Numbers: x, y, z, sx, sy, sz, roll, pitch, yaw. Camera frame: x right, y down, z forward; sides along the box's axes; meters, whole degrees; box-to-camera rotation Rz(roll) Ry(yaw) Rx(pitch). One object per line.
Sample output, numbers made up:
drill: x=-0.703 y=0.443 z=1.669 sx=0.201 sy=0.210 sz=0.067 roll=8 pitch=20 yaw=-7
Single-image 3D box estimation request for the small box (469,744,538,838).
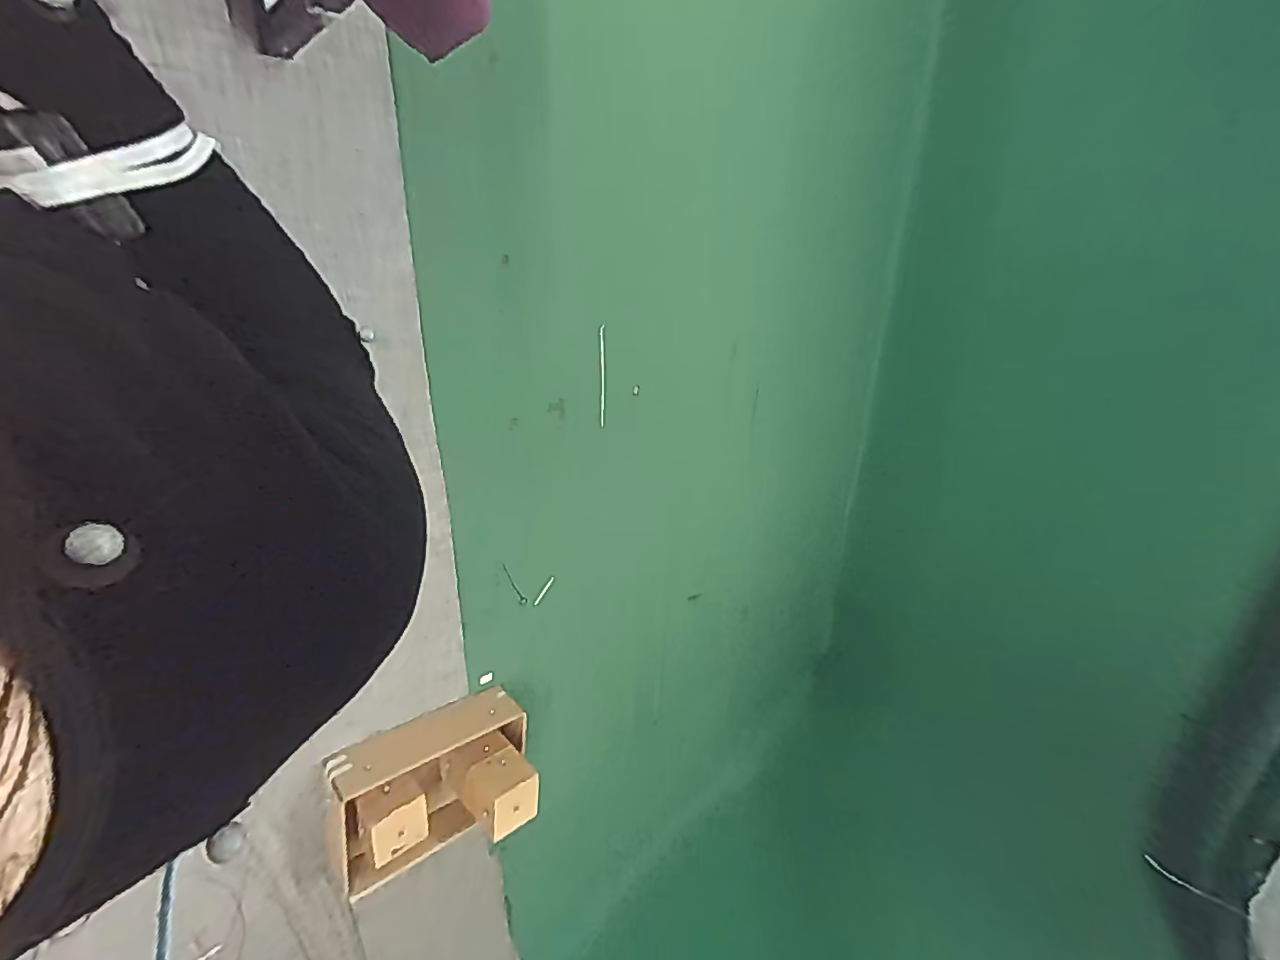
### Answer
small box: x=-0.461 y=1.035 z=1.815 sx=0.168 sy=0.176 sz=0.179 roll=-11 pitch=112 yaw=-44
